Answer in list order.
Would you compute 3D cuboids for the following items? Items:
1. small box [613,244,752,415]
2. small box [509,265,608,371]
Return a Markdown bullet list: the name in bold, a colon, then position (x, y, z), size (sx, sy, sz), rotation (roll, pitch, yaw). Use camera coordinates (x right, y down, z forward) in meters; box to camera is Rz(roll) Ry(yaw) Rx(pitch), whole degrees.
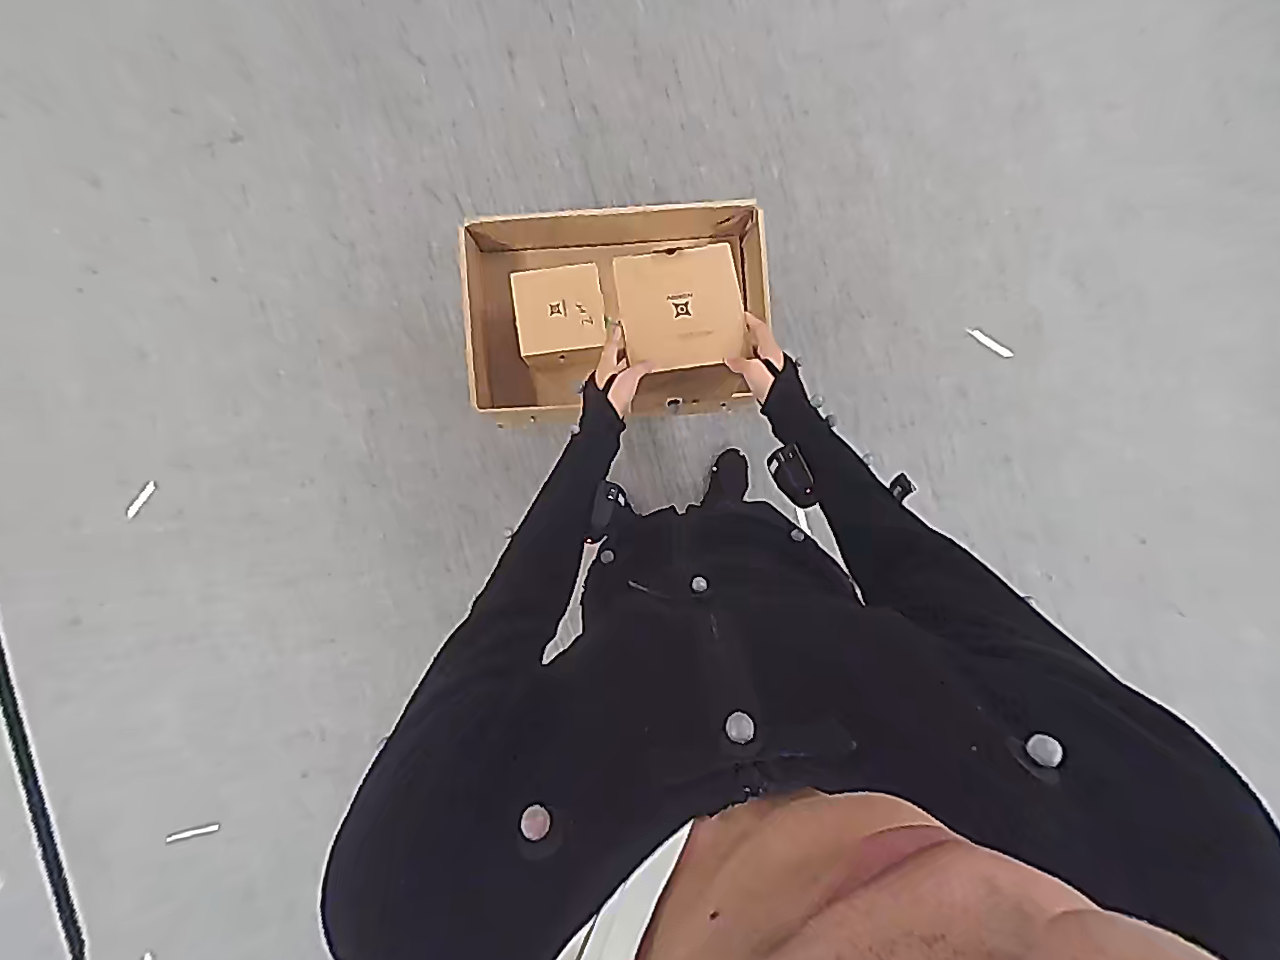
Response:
- **small box**: position (0.050, -0.212, 0.794), size (0.168, 0.176, 0.179), rotation (-9, 79, -4)
- **small box**: position (-0.164, -0.331, 1.137), size (0.179, 0.176, 0.168), rotation (-7, 91, -2)
